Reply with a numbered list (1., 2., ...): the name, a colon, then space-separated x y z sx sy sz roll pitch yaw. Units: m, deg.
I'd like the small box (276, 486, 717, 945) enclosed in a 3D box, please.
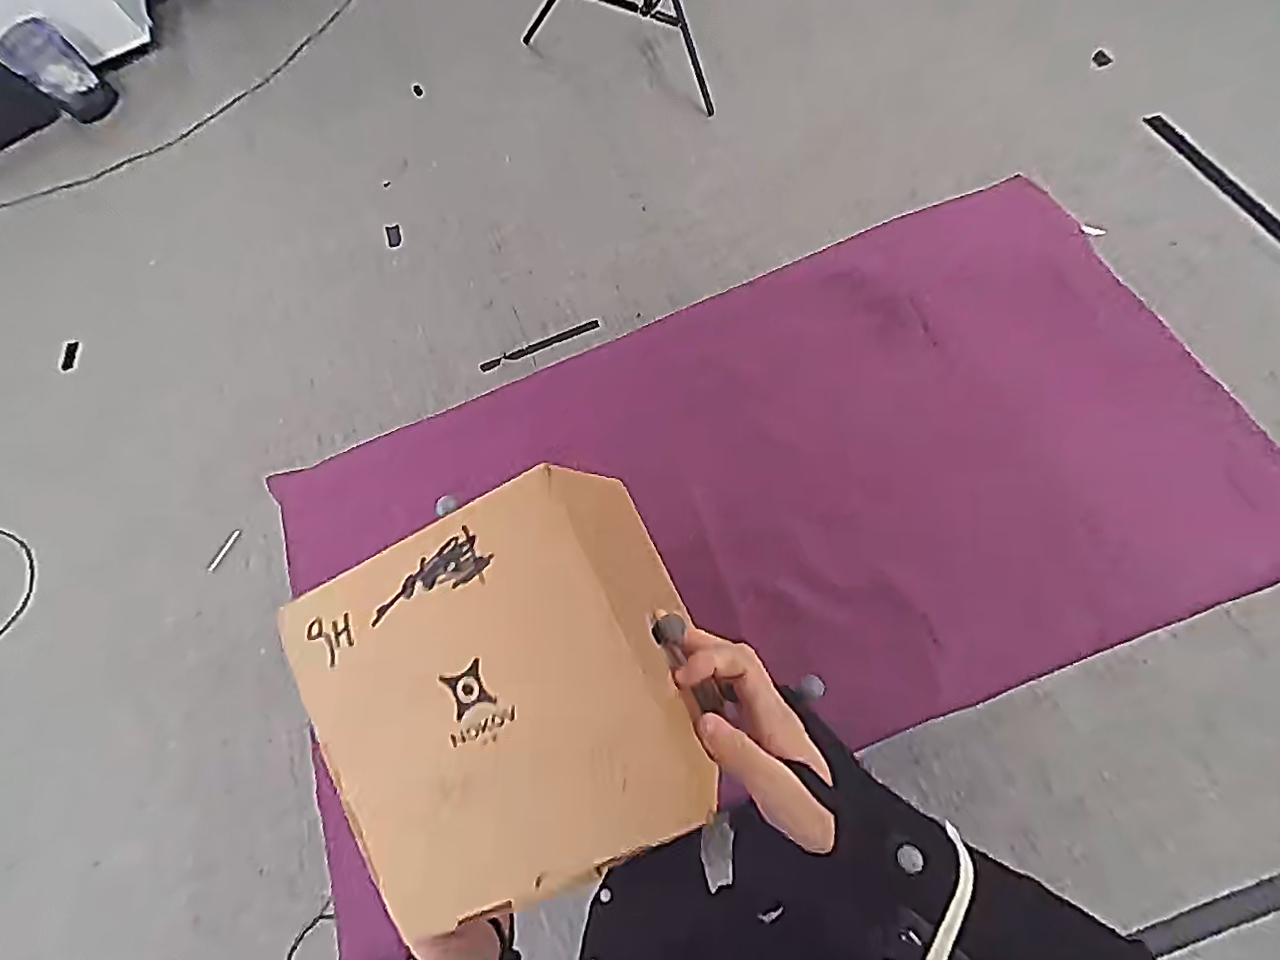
1. small box: -0.062 0.113 0.333 0.168 0.176 0.179 -28 85 9
